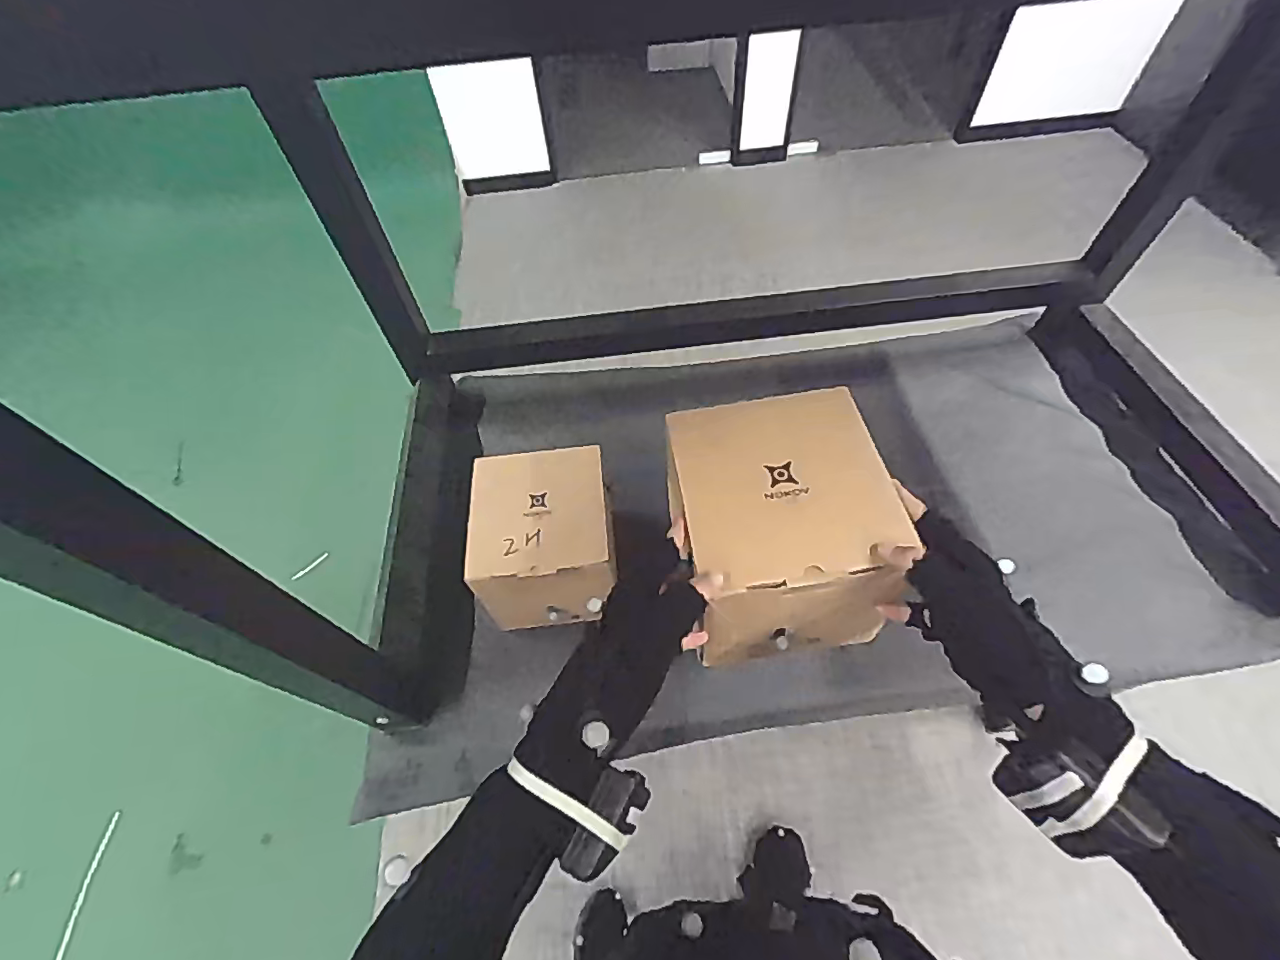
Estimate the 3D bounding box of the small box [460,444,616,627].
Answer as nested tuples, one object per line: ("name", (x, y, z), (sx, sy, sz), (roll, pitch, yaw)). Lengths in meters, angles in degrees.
("small box", (-0.125, 0.077, 0.720), (0.168, 0.176, 0.179), (-7, 55, -1))
